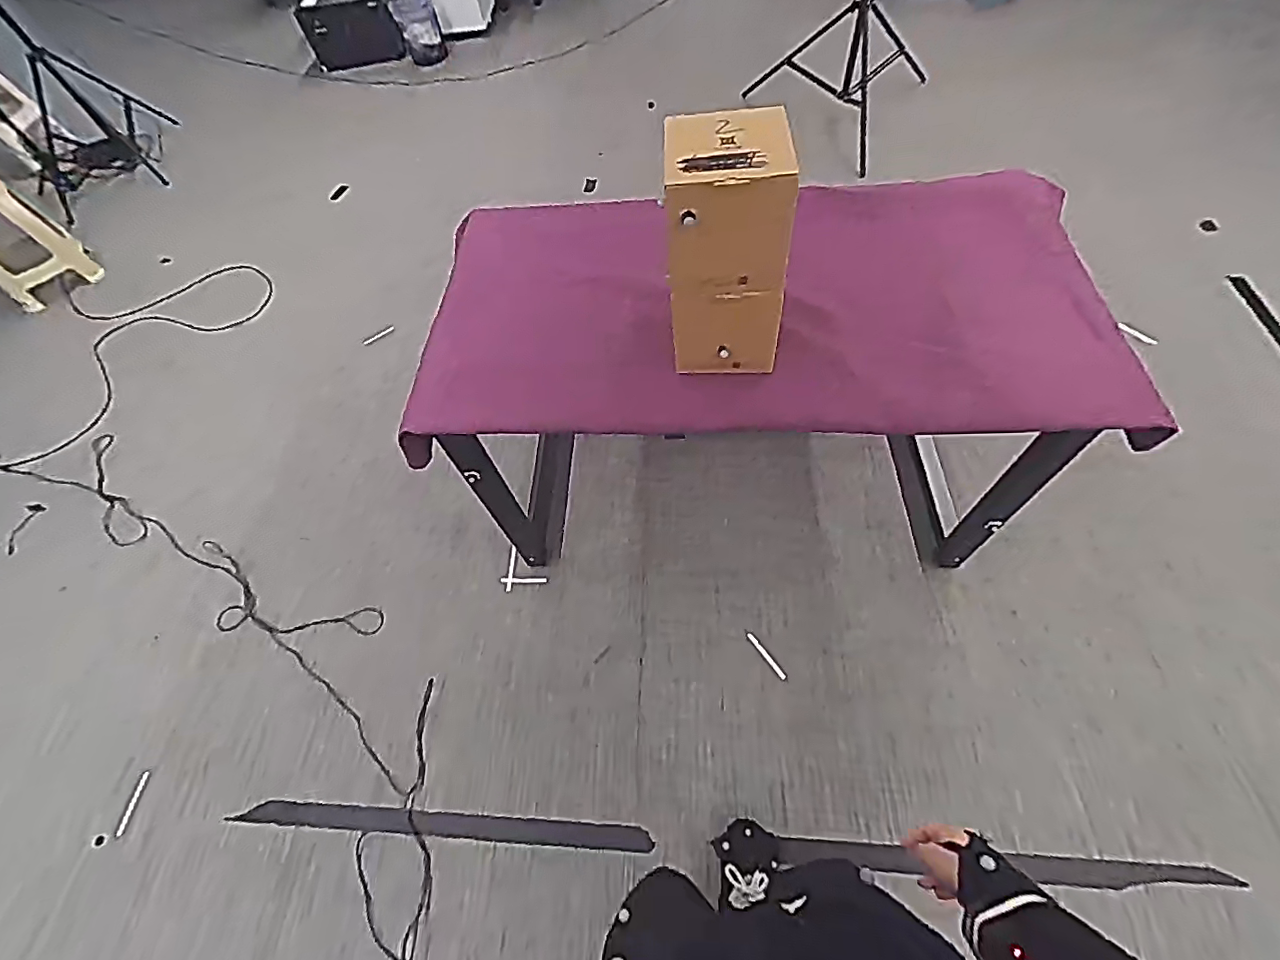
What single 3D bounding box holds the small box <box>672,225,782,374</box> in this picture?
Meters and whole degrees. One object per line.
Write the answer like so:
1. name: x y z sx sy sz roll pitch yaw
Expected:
1. small box: 0.143 -0.300 0.909 0.168 0.176 0.179 1 59 8
